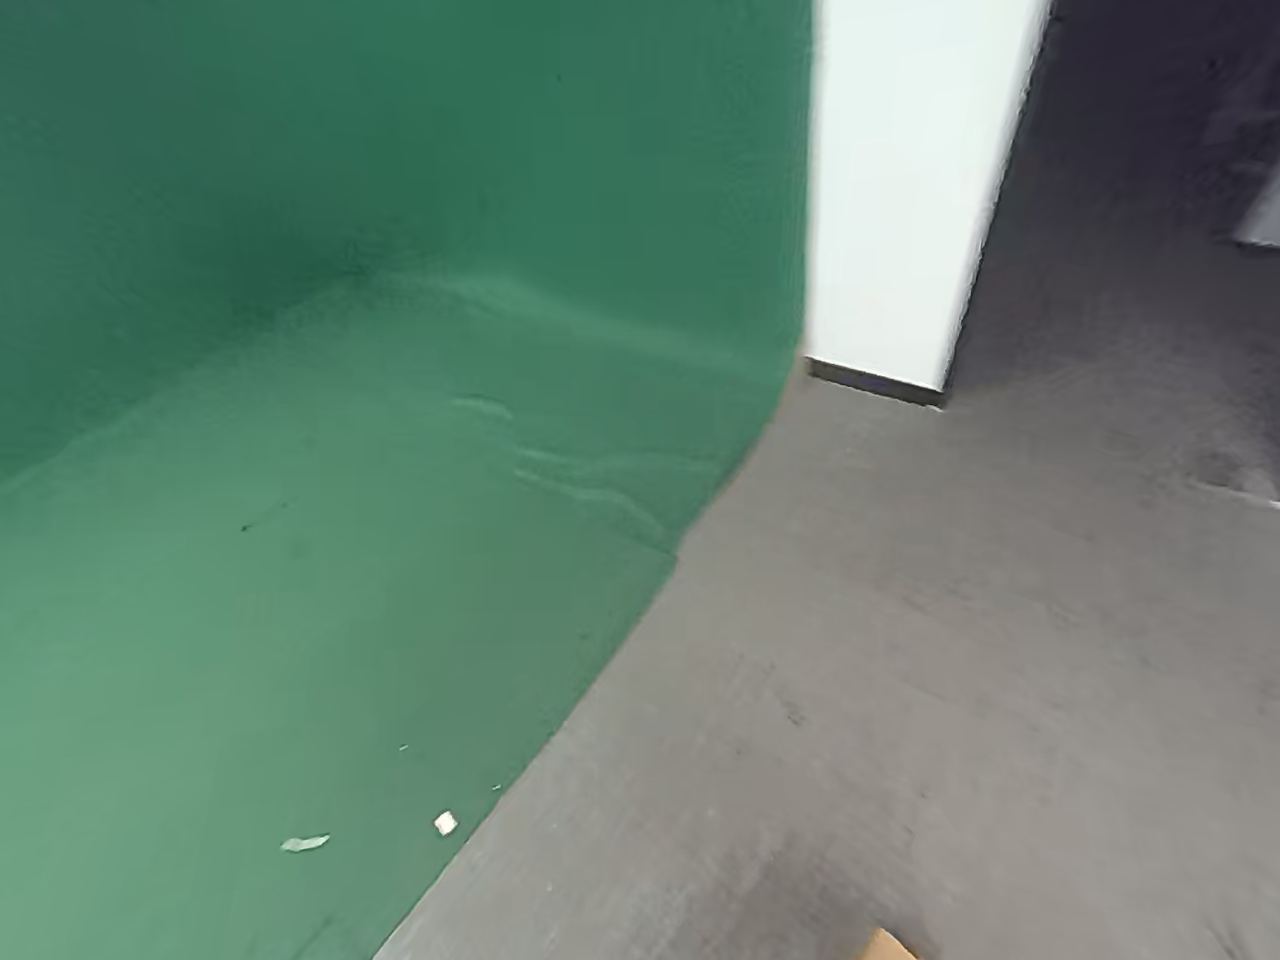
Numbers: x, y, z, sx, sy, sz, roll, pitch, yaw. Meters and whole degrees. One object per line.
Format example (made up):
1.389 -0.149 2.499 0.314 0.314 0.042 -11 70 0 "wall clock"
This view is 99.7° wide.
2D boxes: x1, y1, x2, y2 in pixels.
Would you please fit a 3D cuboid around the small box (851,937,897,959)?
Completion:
0.410 0.919 0.904 0.179 0.176 0.168 -41 52 -20 "small box"
